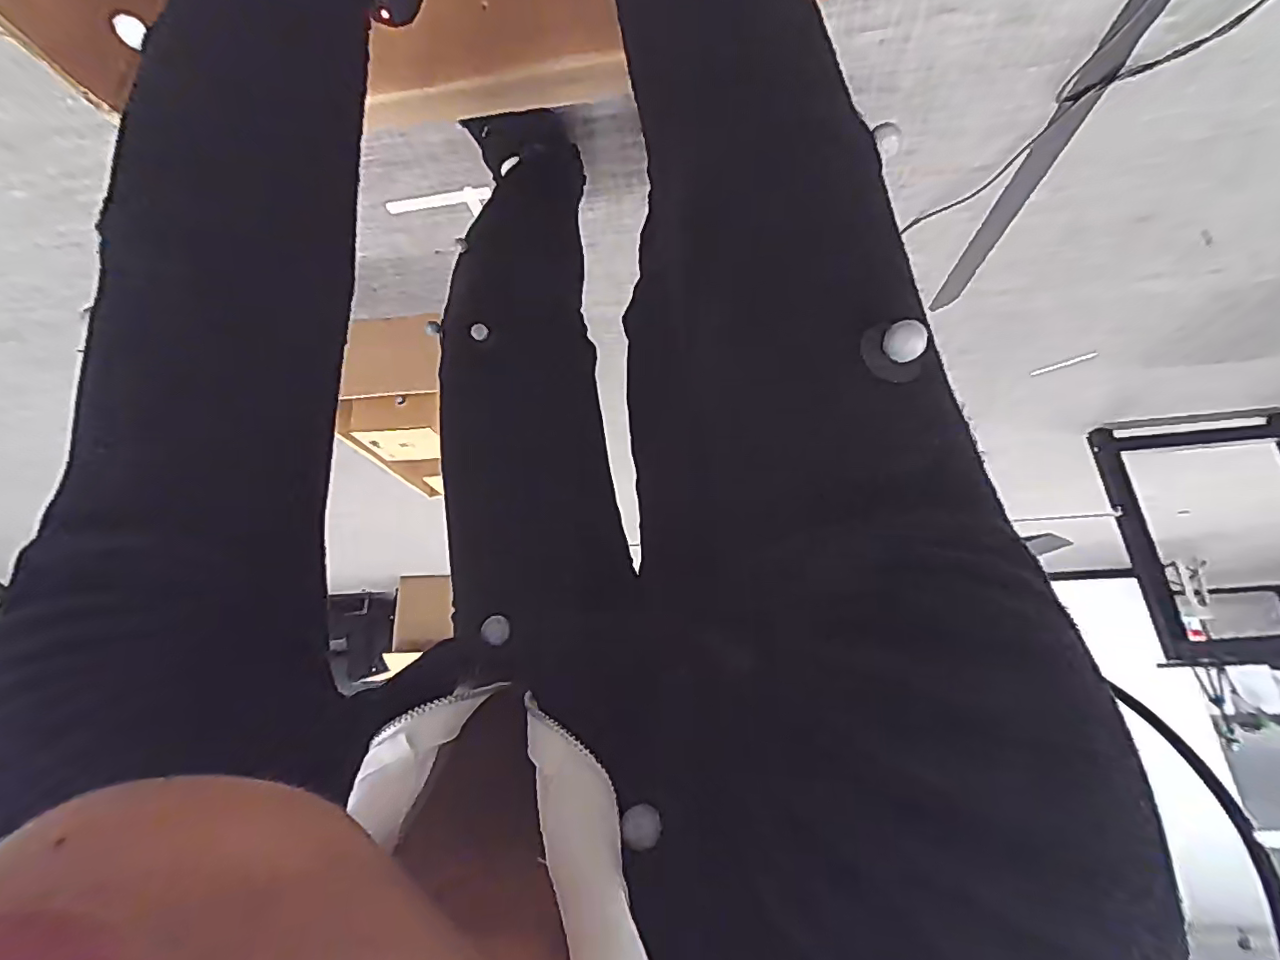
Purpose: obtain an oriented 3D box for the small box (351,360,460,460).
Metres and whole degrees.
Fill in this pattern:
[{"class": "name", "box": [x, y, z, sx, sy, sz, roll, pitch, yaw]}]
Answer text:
[{"class": "small box", "box": [-0.519, -0.157, 1.216, 0.179, 0.176, 0.168, -5, 161, 1]}]
